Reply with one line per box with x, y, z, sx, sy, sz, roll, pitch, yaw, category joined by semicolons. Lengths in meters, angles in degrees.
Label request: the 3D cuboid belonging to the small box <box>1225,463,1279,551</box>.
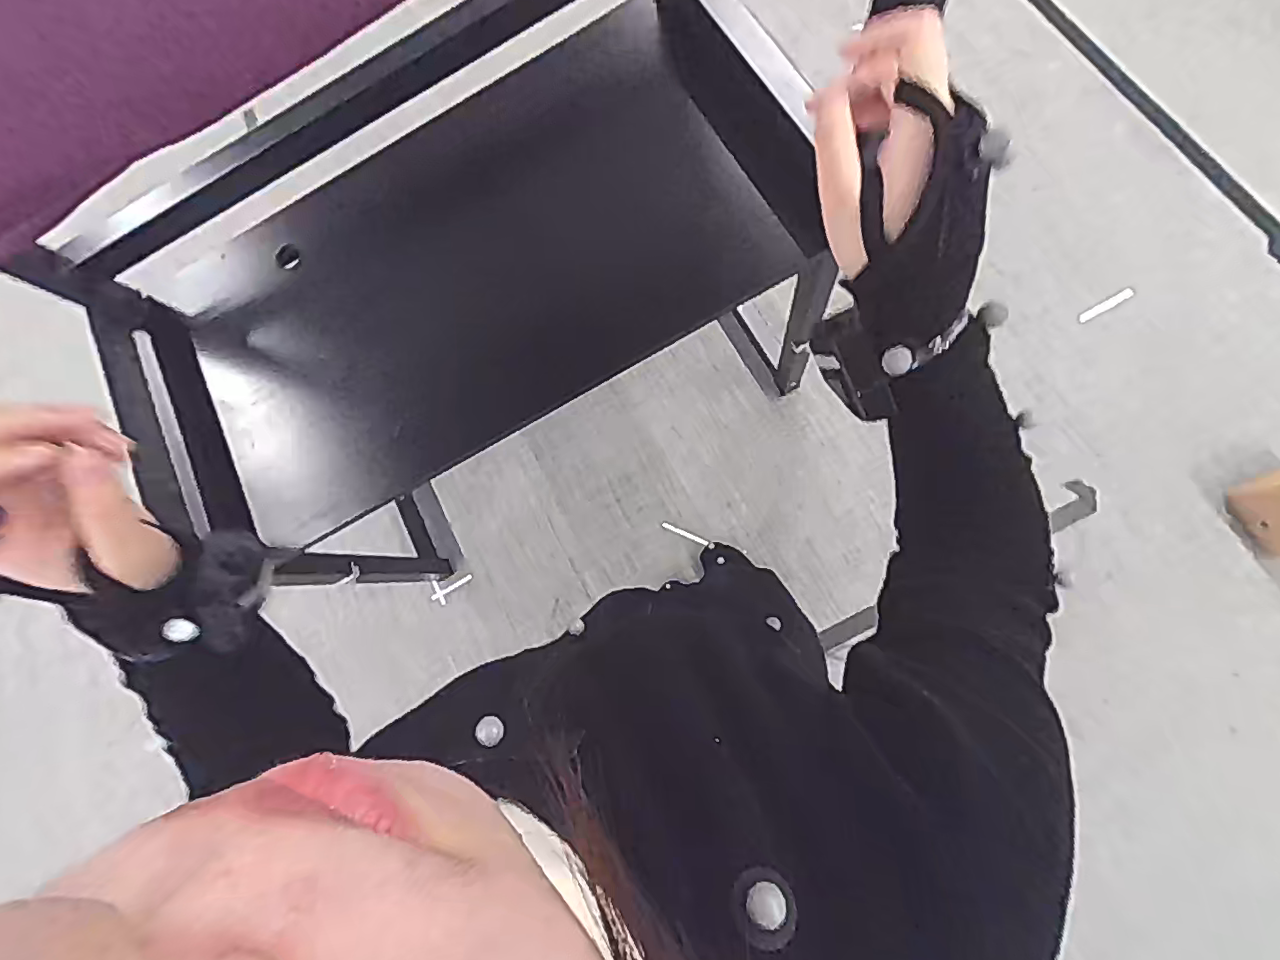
1.511;0.055;1.213;0.168;0.176;0.179;-28;79;3;small box
